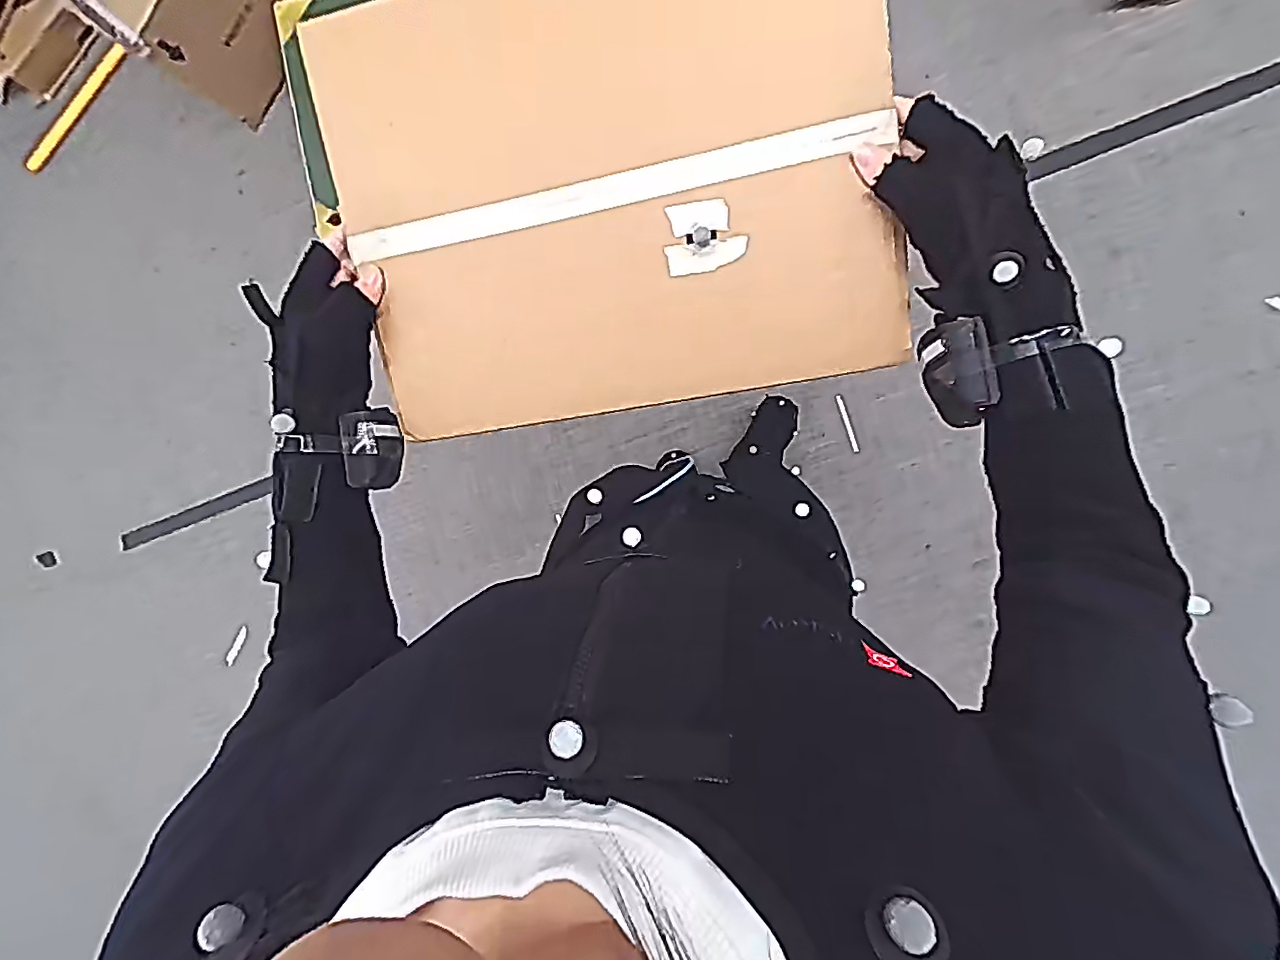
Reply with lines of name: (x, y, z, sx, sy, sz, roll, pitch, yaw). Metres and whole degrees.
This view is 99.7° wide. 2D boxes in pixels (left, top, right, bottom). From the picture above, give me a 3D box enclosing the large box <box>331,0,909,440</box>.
large box: (-0.002, -0.241, 0.552, 0.408, 0.320, 0.320, -9, 102, 8)
